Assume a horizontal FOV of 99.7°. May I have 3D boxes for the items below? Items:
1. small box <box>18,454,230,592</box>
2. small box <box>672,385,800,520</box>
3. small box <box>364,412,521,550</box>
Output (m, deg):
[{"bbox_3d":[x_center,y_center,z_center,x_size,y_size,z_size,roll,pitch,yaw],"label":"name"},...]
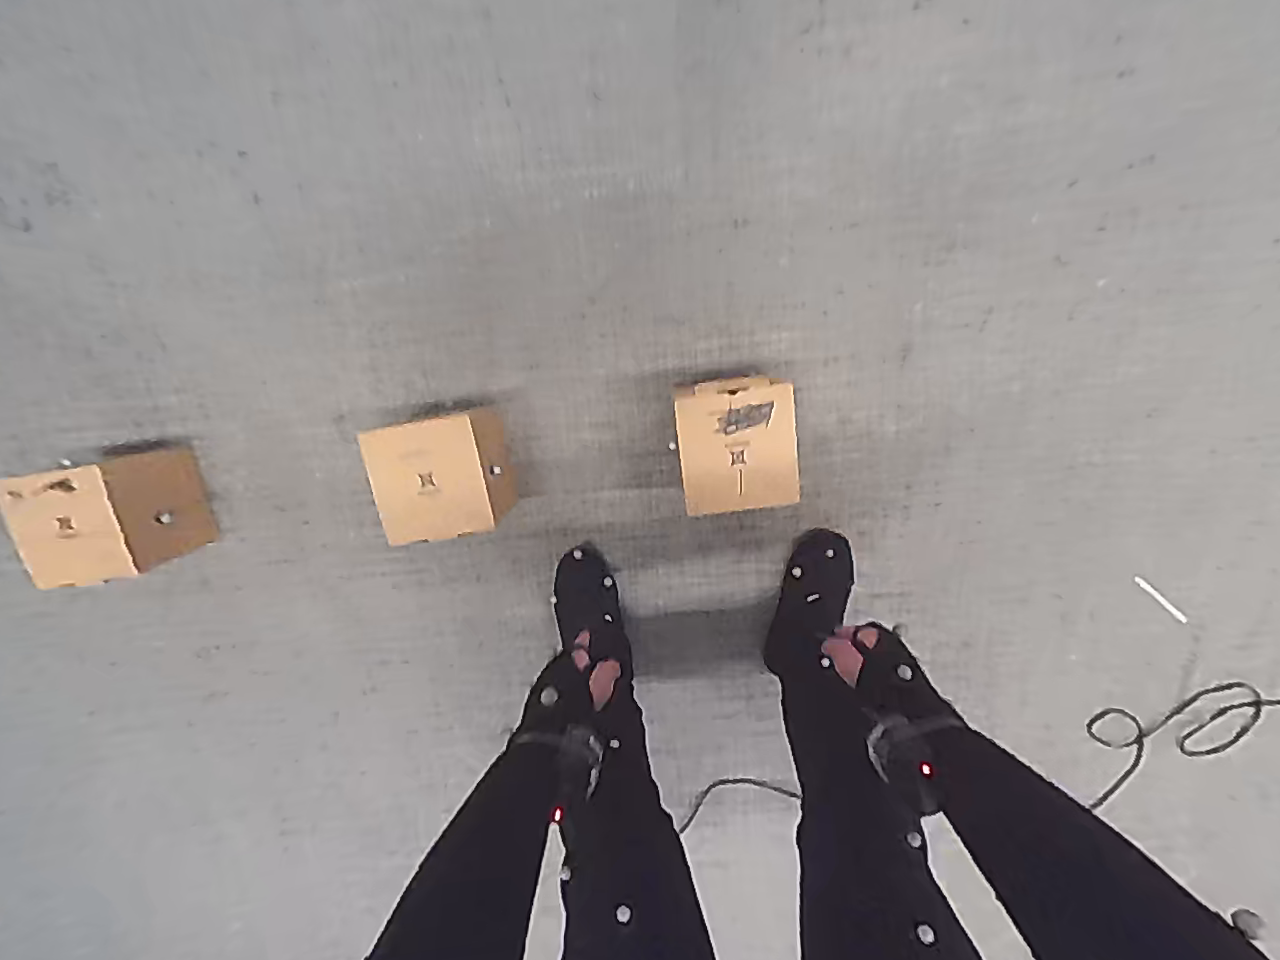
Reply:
[{"bbox_3d":[-0.838,0.065,0.902,0.168,0.176,0.179,-8,103,3],"label":"small box"},{"bbox_3d":[0.141,-0.052,0.838,0.168,0.176,0.179,-7,102,5],"label":"small box"},{"bbox_3d":[-0.302,-0.006,0.869,0.168,0.176,0.179,-10,101,3],"label":"small box"}]
